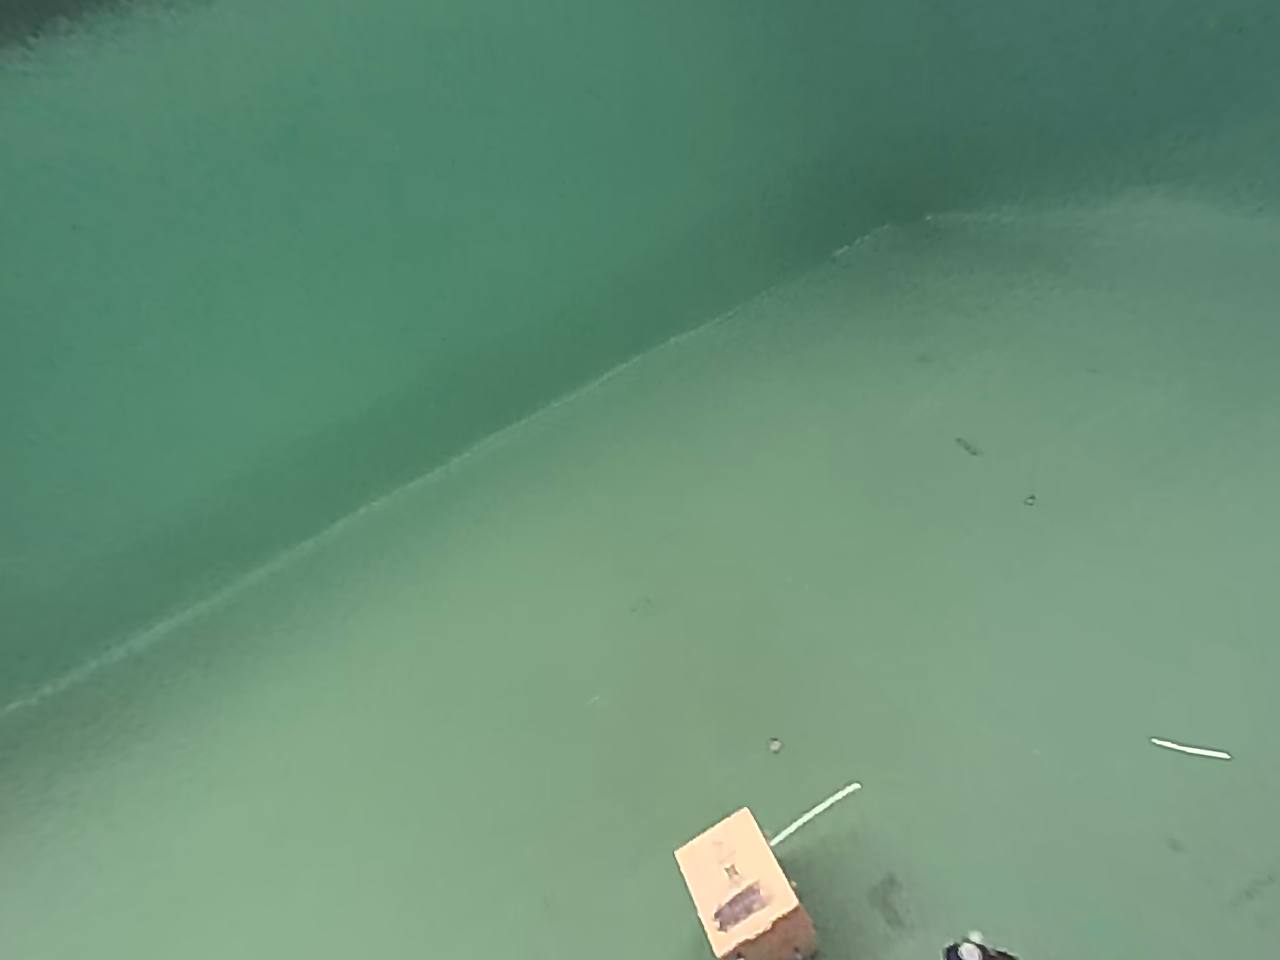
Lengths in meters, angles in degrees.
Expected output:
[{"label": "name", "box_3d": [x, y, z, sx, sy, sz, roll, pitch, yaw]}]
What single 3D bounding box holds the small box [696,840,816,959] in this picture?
[{"label": "small box", "box_3d": [0.243, 0.898, 1.120, 0.168, 0.176, 0.179, -28, 38, -4]}]
